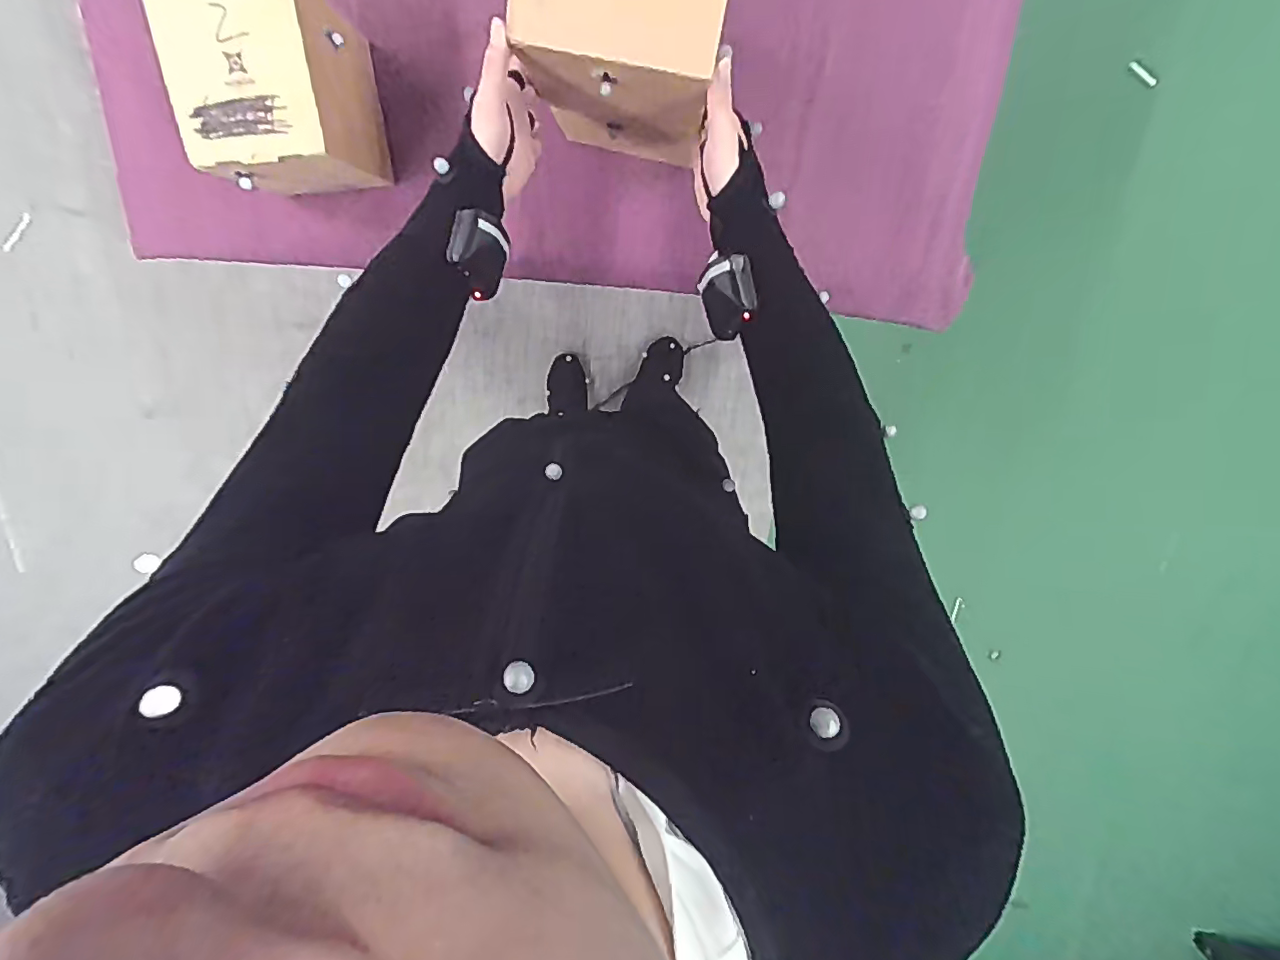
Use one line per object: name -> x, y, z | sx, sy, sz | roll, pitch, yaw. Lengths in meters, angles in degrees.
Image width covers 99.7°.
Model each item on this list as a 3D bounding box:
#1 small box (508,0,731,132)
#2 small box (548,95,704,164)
small box -> -0.006, -0.443, 0.494 | 0.179, 0.176, 0.168 | 10, 110, -1
small box -> 0.002, -0.500, 0.646 | 0.179, 0.176, 0.168 | 11, 110, -3
